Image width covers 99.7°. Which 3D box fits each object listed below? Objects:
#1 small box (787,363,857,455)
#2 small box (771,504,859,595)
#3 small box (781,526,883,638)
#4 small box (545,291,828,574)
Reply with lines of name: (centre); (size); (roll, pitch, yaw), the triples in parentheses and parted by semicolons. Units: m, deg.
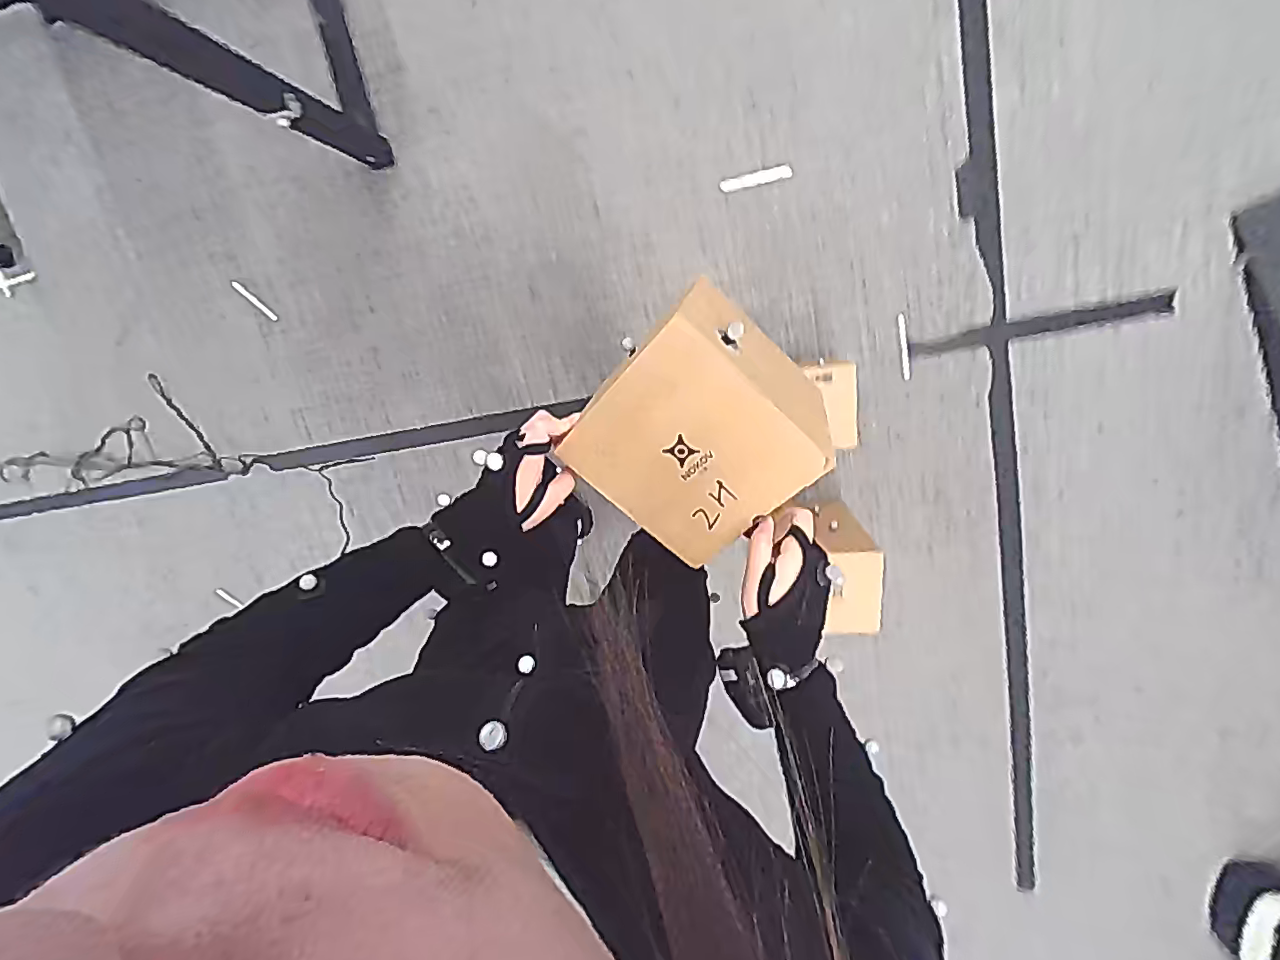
small box: (0.372, -0.157, 1.194); (0.168, 0.176, 0.179); (-4, 106, 8)
small box: (0.406, 0.161, 1.281); (0.179, 0.176, 0.168); (-3, 106, 7)
small box: (0.391, 0.208, 1.125); (0.168, 0.176, 0.179); (-1, 105, 7)
small box: (0.047, -0.054, 0.507); (0.179, 0.176, 0.168); (40, 121, -12)
